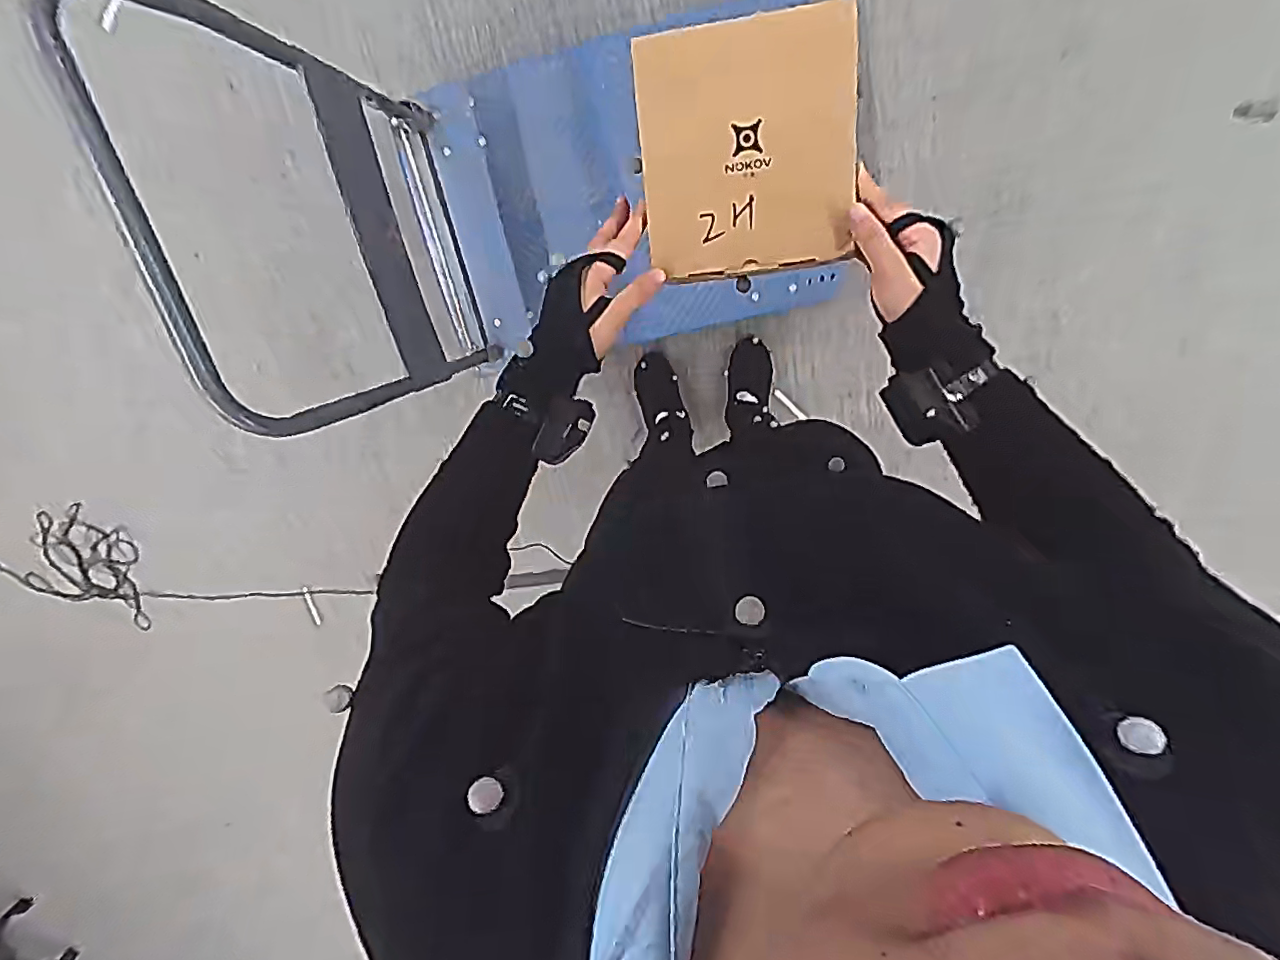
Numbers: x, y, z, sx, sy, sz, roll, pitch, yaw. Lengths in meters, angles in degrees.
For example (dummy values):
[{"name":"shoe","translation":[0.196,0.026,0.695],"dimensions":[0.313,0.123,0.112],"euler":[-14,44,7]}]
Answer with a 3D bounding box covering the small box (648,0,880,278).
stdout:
[{"name":"small box","translation":[0.100,-0.282,0.481],"dimensions":[0.168,0.176,0.179],"euler":[-3,109,8]}]
